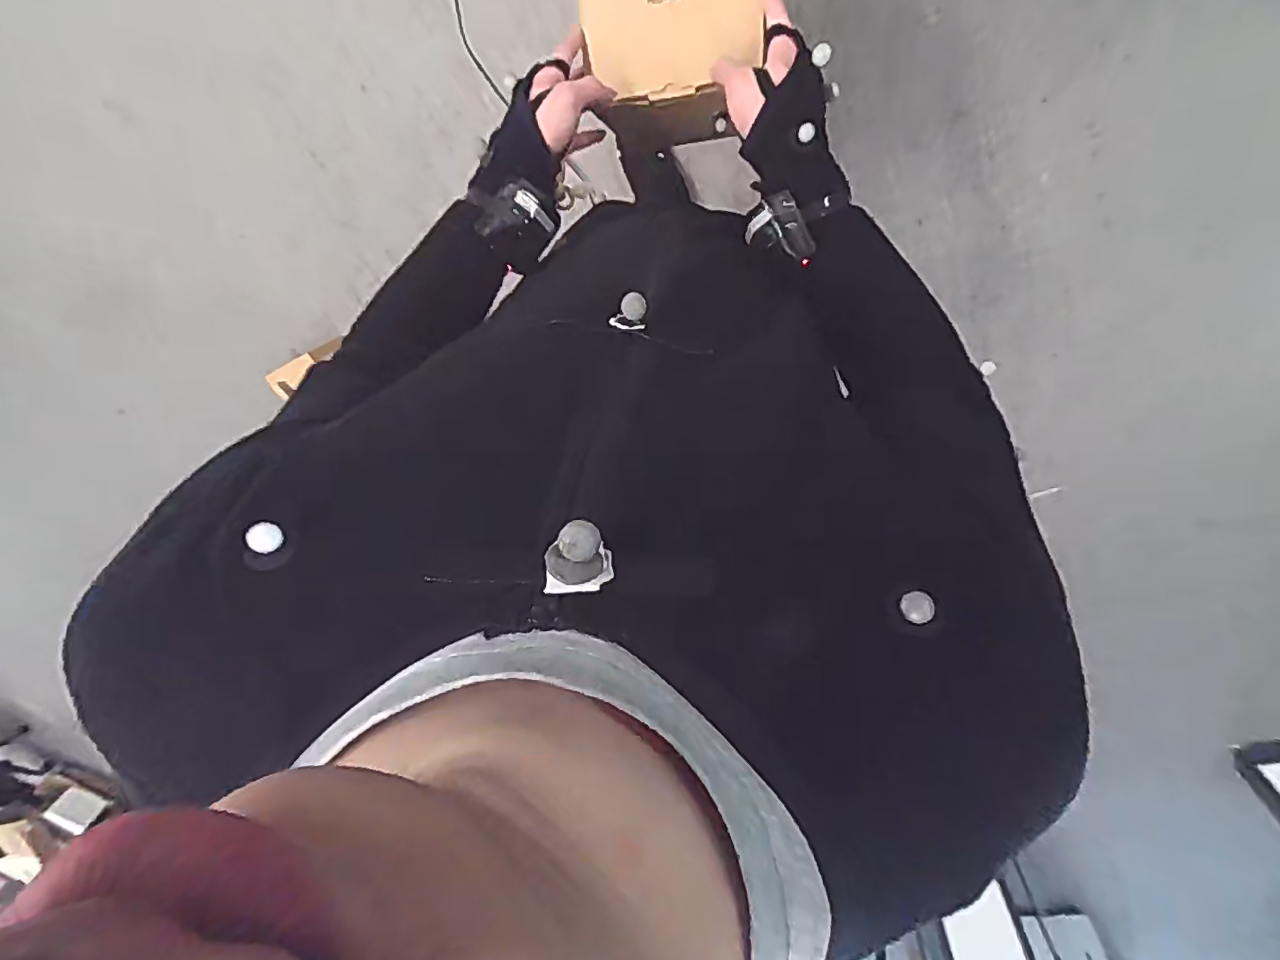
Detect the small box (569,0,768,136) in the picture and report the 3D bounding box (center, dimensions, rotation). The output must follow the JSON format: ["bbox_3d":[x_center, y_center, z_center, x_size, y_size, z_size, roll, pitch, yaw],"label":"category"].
[{"bbox_3d":[0.037,-0.460,0.530,0.168,0.176,0.179,2,107,16],"label":"small box"}]

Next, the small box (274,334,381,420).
[{"bbox_3d":[-0.915,-0.307,1.599,0.179,0.176,0.168,-19,117,19],"label":"small box"}]
